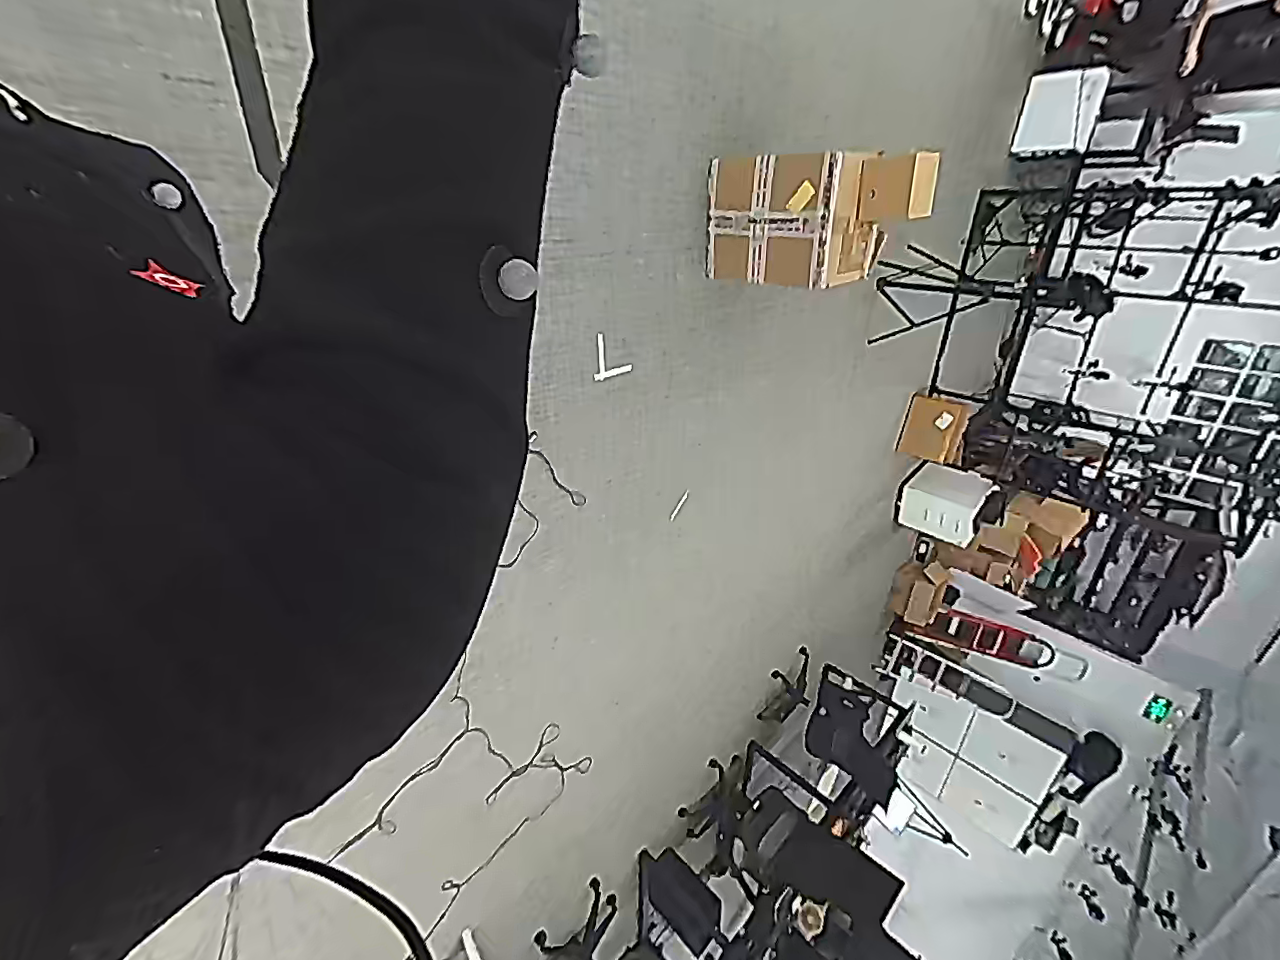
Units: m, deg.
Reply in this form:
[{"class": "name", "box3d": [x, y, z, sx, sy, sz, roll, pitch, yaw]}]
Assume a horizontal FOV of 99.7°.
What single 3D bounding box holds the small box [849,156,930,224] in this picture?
[{"class": "small box", "box3d": [0.793, -0.918, 1.716, 0.168, 0.176, 0.179, -25, 124, -36]}]
